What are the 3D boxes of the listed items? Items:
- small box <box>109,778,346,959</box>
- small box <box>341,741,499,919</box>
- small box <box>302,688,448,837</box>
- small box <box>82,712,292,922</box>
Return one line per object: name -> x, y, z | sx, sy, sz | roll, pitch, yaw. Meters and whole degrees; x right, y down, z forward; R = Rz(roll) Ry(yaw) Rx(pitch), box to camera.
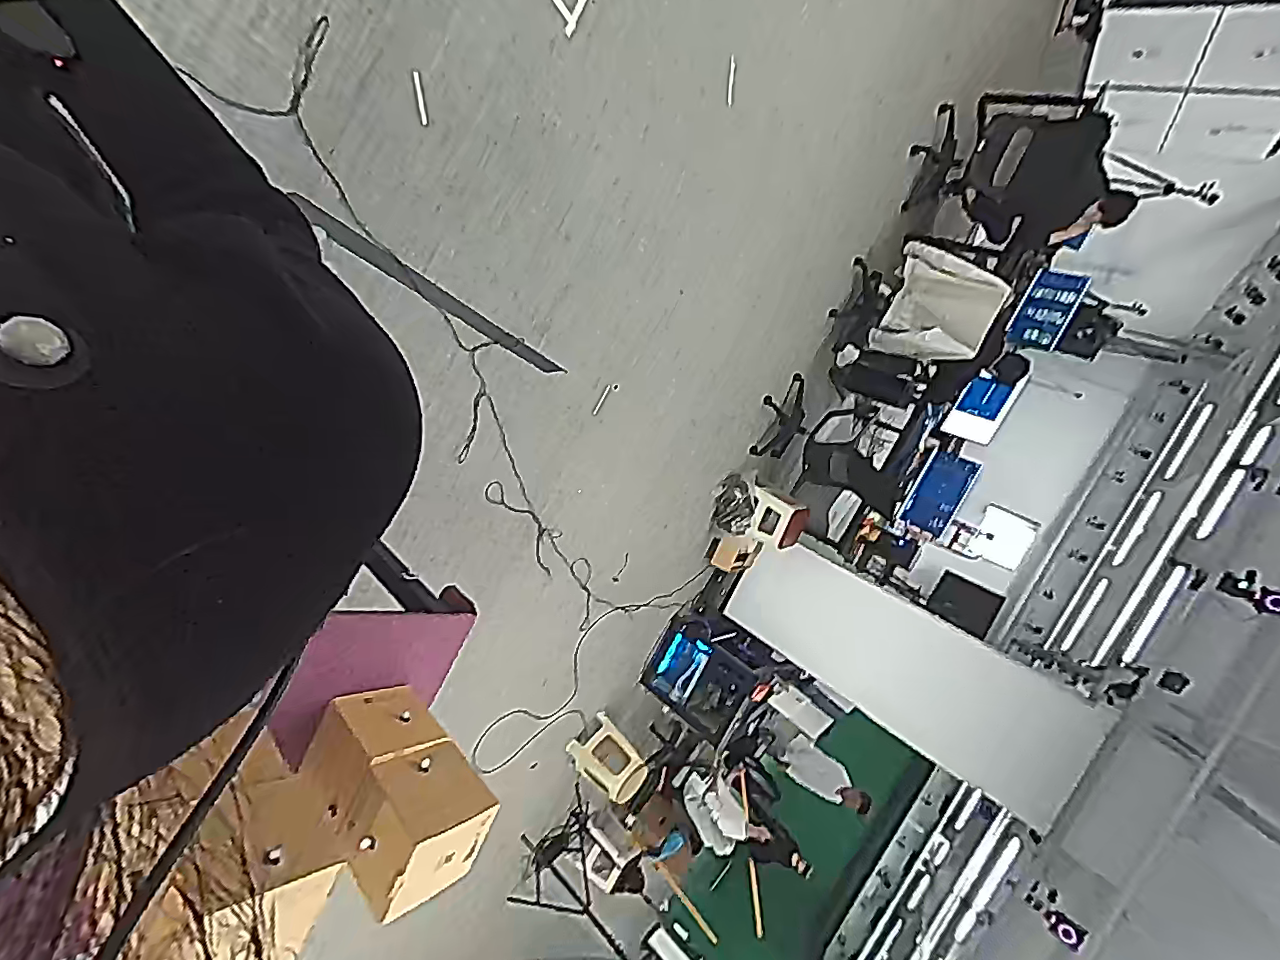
small box -> -0.533, 0.525, 0.702 | 0.179, 0.176, 0.168 | 24, 95, -56
small box -> -0.391, 0.600, 0.956 | 0.179, 0.176, 0.168 | 13, 105, -56
small box -> -0.510, 0.522, 1.037 | 0.168, 0.176, 0.179 | 16, 103, -57
small box -> -0.657, 0.467, 0.788 | 0.179, 0.176, 0.168 | 19, 100, -57
